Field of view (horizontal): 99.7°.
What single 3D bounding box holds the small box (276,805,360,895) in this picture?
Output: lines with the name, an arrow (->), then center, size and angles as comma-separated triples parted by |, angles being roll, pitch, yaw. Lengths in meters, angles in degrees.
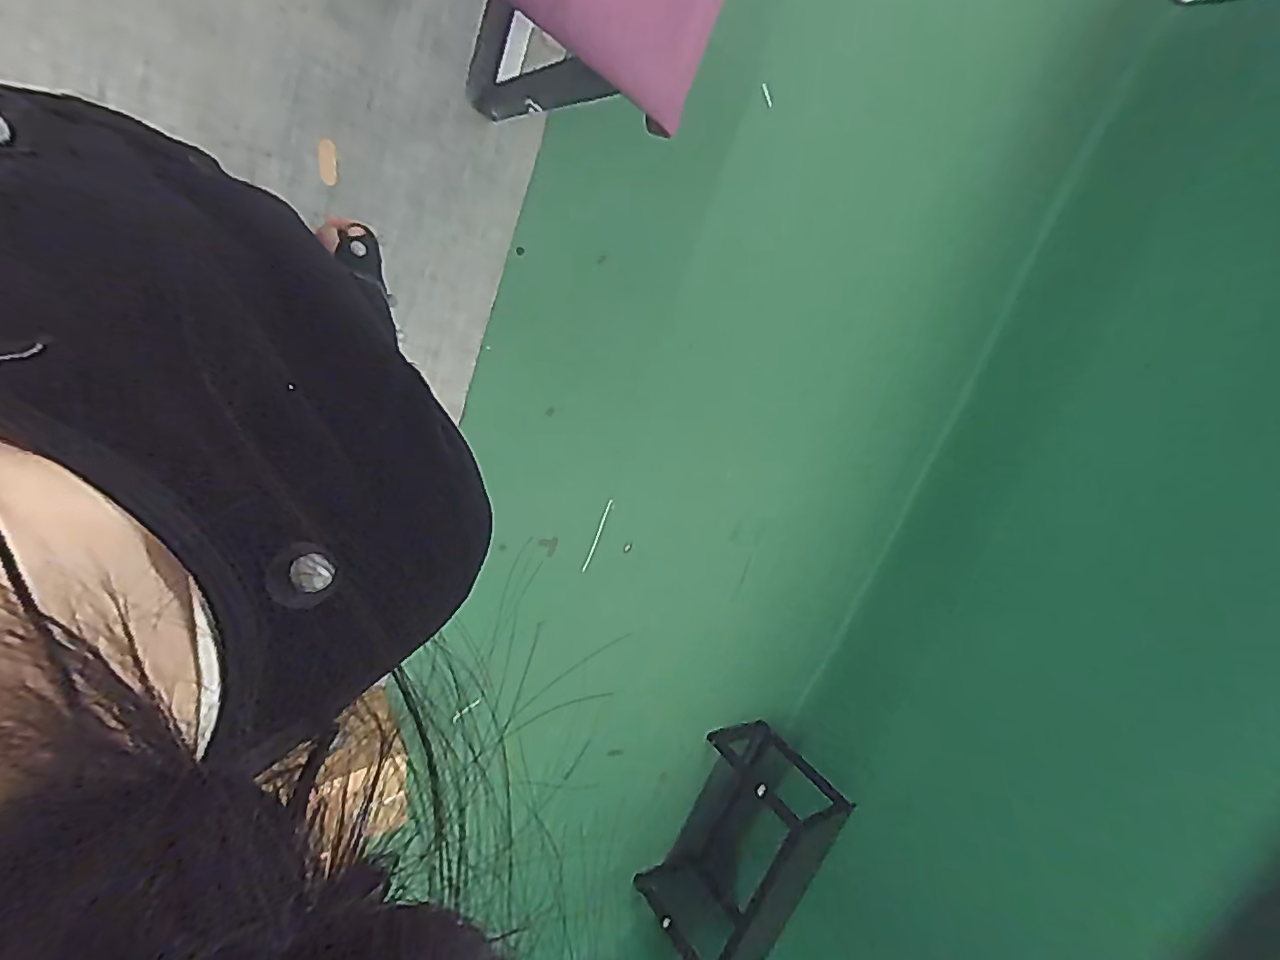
small box -> -0.835, 0.984, 1.402 | 0.168, 0.176, 0.179 | -7, 116, -37

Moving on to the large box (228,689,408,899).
large box -> -0.947, 0.898, 1.606 | 0.408, 0.320, 0.320 | -9, 119, -38

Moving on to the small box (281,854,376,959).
small box -> -0.742, 1.049, 1.283 | 0.179, 0.176, 0.168 | -8, 117, -36
